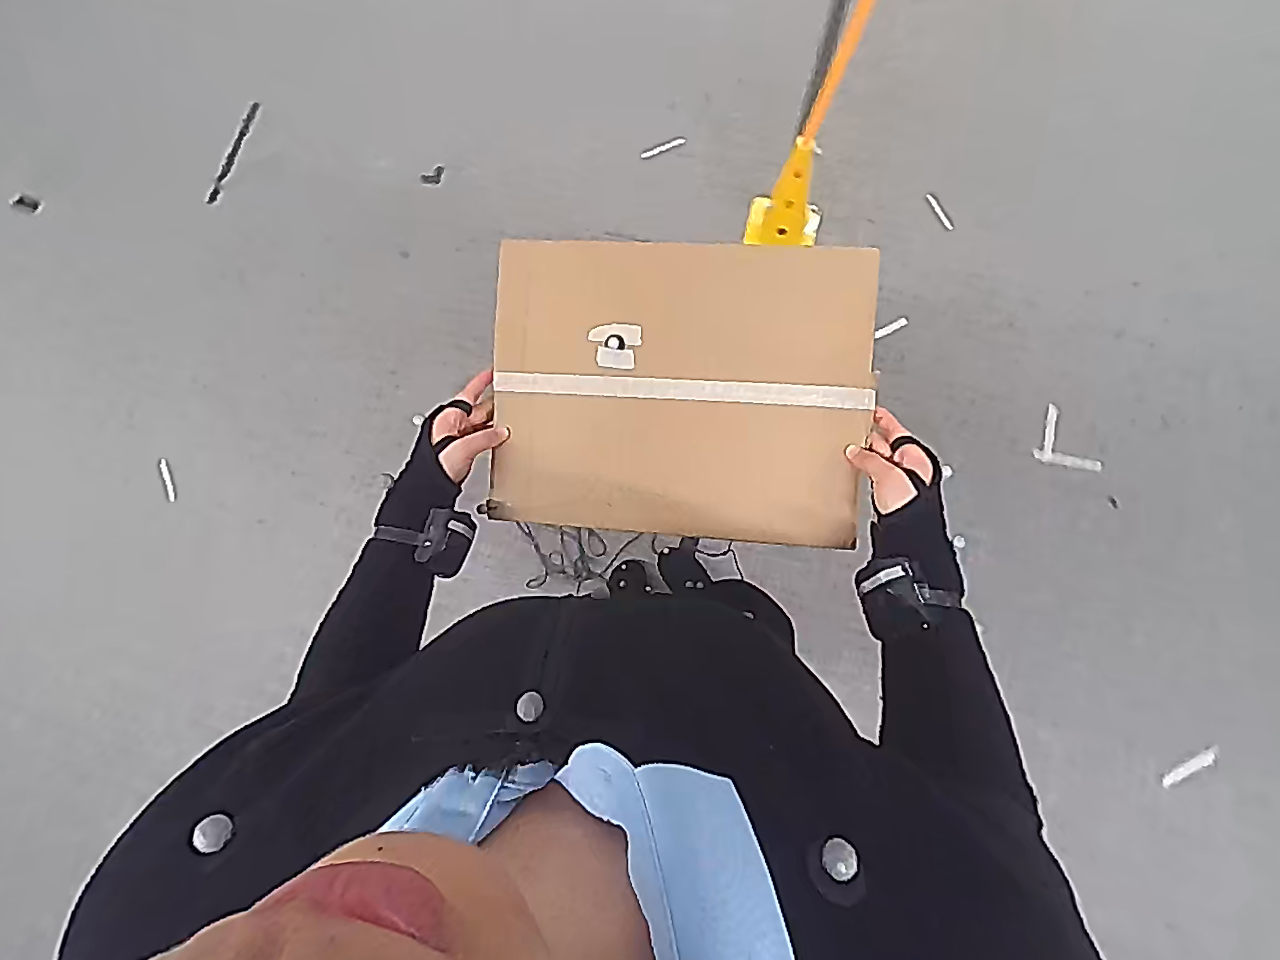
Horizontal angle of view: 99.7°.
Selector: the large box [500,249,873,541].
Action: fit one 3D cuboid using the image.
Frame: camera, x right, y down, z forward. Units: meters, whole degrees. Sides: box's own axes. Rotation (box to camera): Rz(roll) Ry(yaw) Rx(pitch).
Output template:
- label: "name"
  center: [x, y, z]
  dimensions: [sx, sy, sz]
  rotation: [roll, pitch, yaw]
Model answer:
- label: "large box"
  center: [0.062, -0.105, 0.744]
  dimensions: [0.408, 0.320, 0.320]
  rotation: [4, 92, 7]
